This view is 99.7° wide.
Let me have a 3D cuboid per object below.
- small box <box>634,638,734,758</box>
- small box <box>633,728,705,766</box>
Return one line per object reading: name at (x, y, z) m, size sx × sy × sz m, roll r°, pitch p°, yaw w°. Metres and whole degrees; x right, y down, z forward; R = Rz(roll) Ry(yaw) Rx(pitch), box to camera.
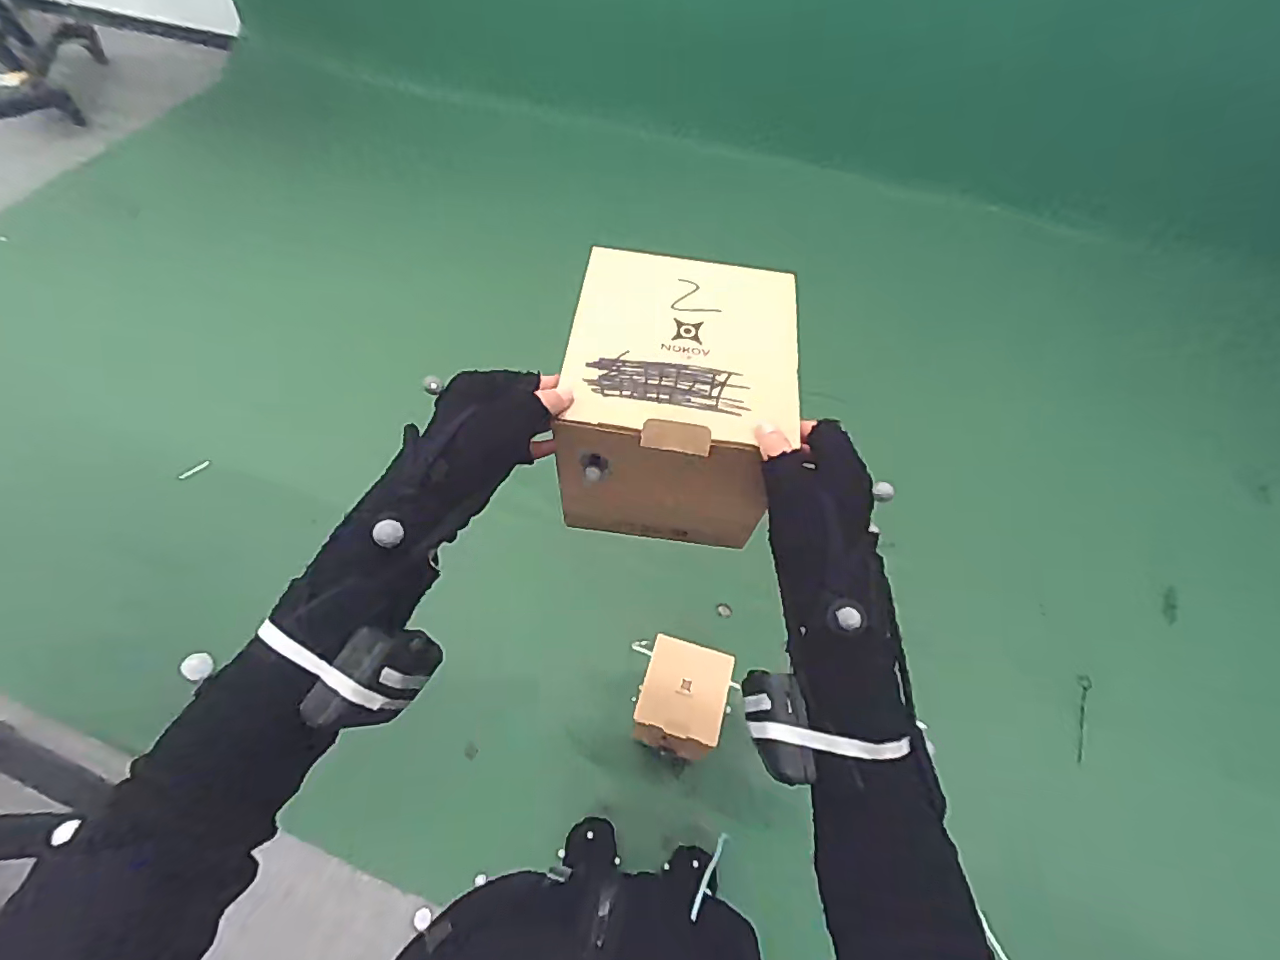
small box at (0.087, 0.460, 1.132) m, size 0.168 × 0.176 × 0.179 m, roll 15°, pitch 59°, yaw 7°
small box at (0.085, 0.547, 1.269) m, size 0.168 × 0.176 × 0.179 m, roll 16°, pitch 59°, yaw 9°
